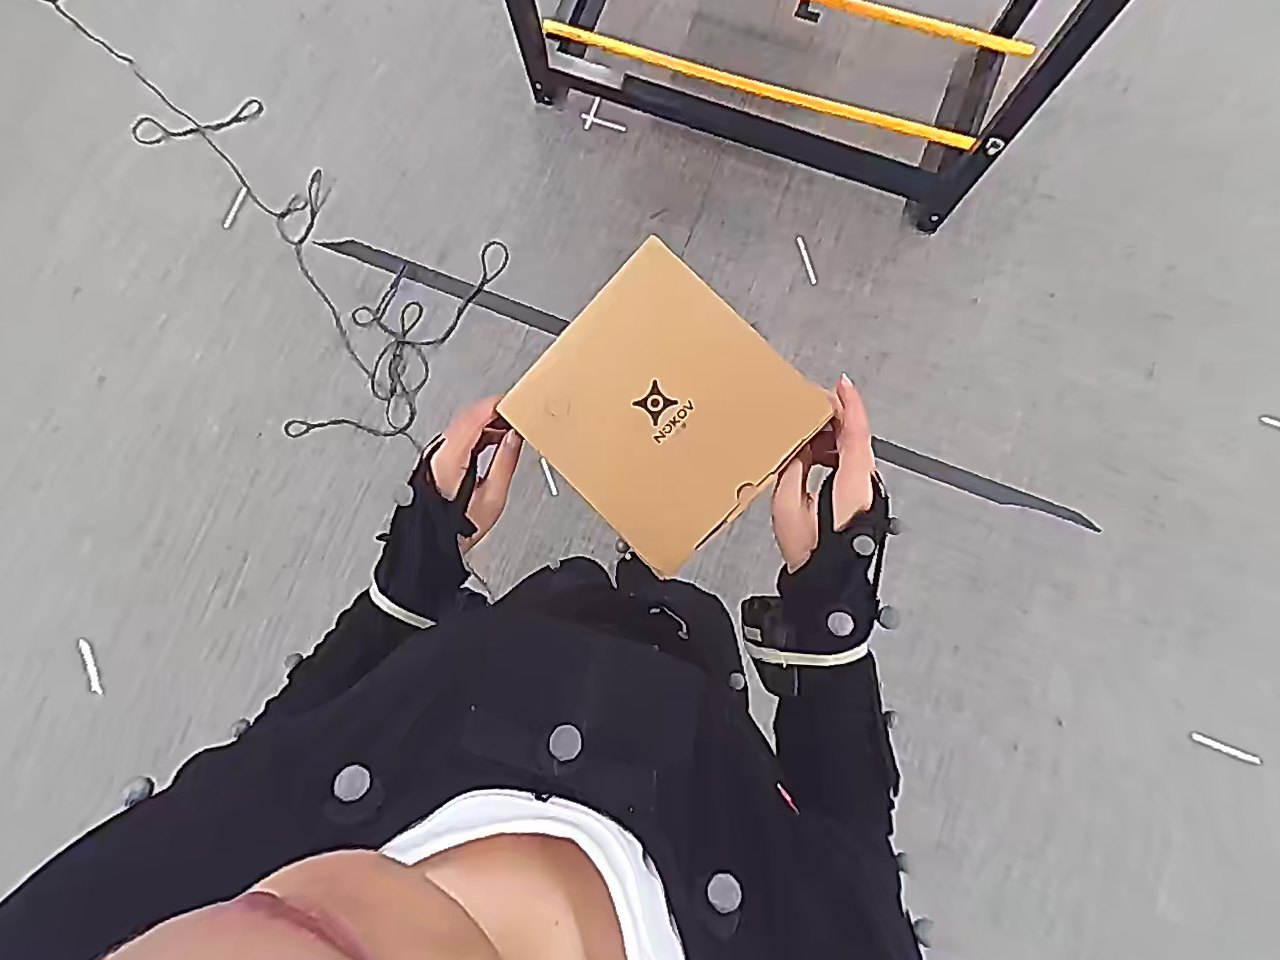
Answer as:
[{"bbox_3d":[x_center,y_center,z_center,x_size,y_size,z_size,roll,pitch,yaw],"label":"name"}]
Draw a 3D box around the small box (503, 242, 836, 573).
[{"bbox_3d":[0.025,-0.050,0.453,0.179,0.176,0.168,45,96,4],"label":"small box"}]
